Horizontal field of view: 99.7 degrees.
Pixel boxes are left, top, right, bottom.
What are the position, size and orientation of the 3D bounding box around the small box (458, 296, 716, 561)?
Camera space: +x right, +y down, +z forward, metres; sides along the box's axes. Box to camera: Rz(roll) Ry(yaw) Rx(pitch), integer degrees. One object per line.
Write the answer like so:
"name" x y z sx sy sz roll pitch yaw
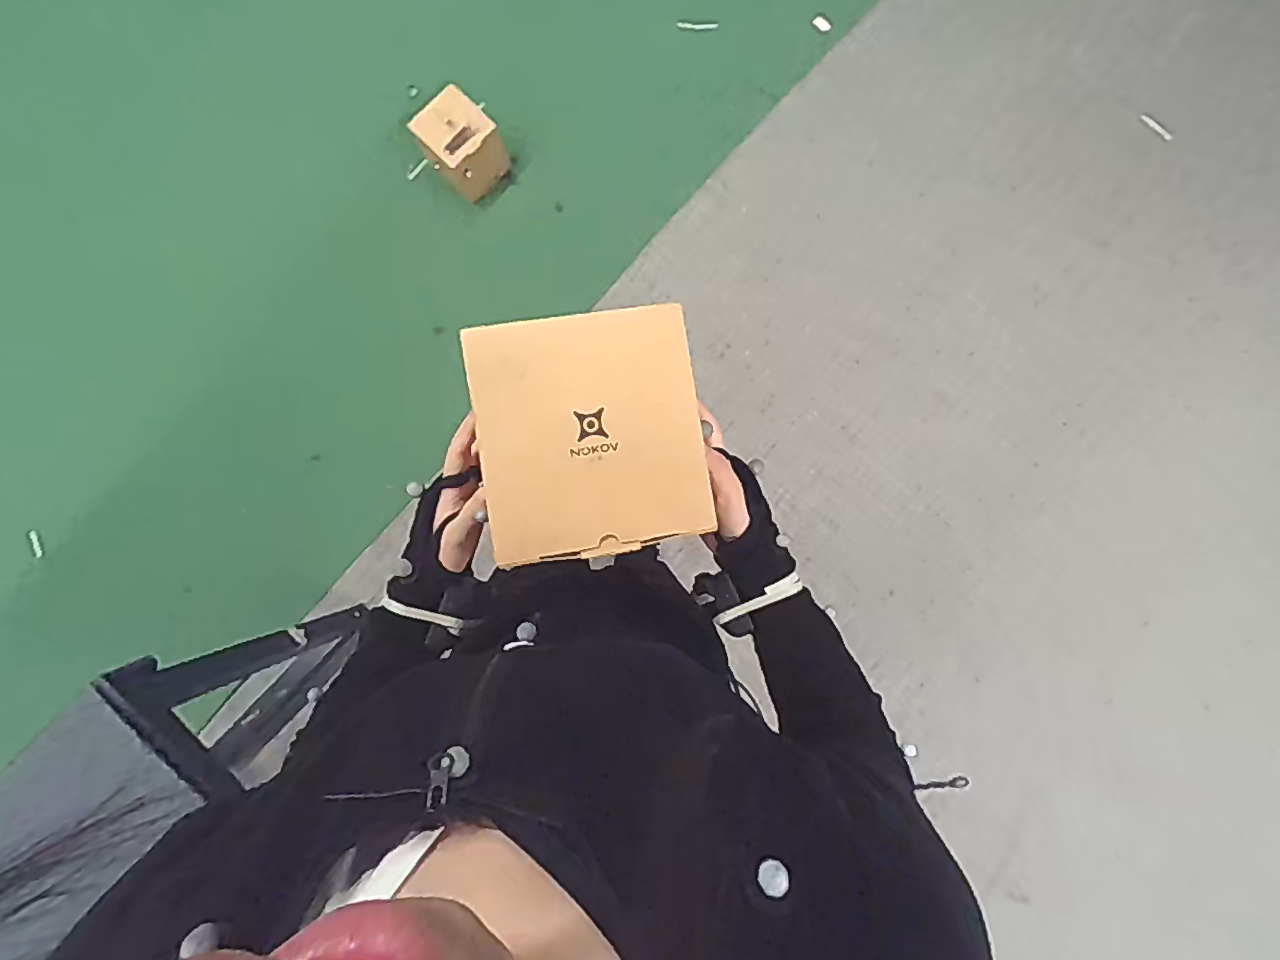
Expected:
"small box" -0.047 -0.035 0.468 0.168 0.176 0.179 -10 89 -7
